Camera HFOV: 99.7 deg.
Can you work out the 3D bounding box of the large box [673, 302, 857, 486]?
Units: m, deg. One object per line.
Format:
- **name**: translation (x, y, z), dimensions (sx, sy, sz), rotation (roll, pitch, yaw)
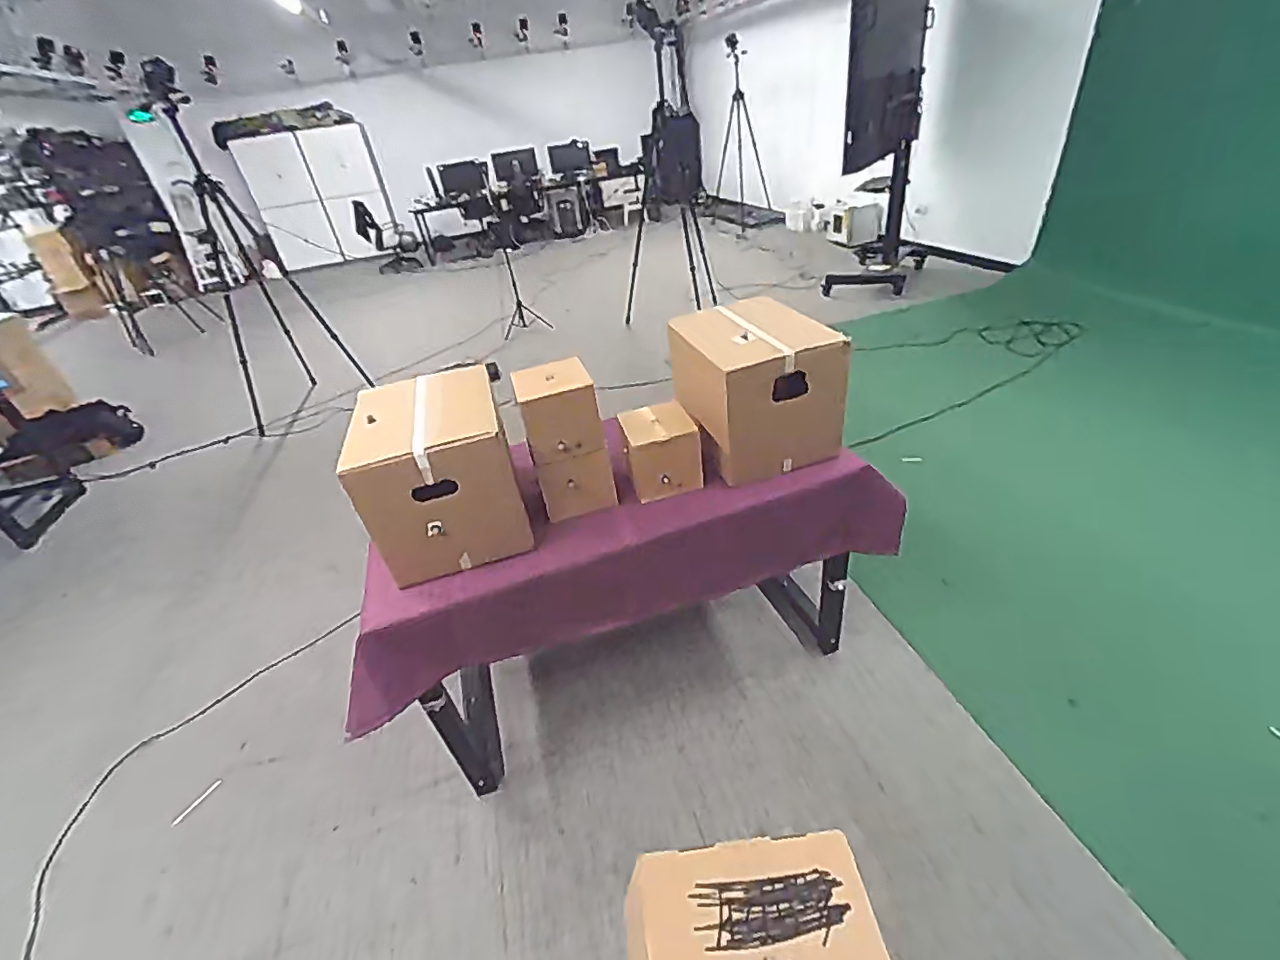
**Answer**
- **large box**: translation (0.304, -0.243, 1.434), dimensions (0.320, 0.320, 0.408), rotation (-15, 36, -9)
